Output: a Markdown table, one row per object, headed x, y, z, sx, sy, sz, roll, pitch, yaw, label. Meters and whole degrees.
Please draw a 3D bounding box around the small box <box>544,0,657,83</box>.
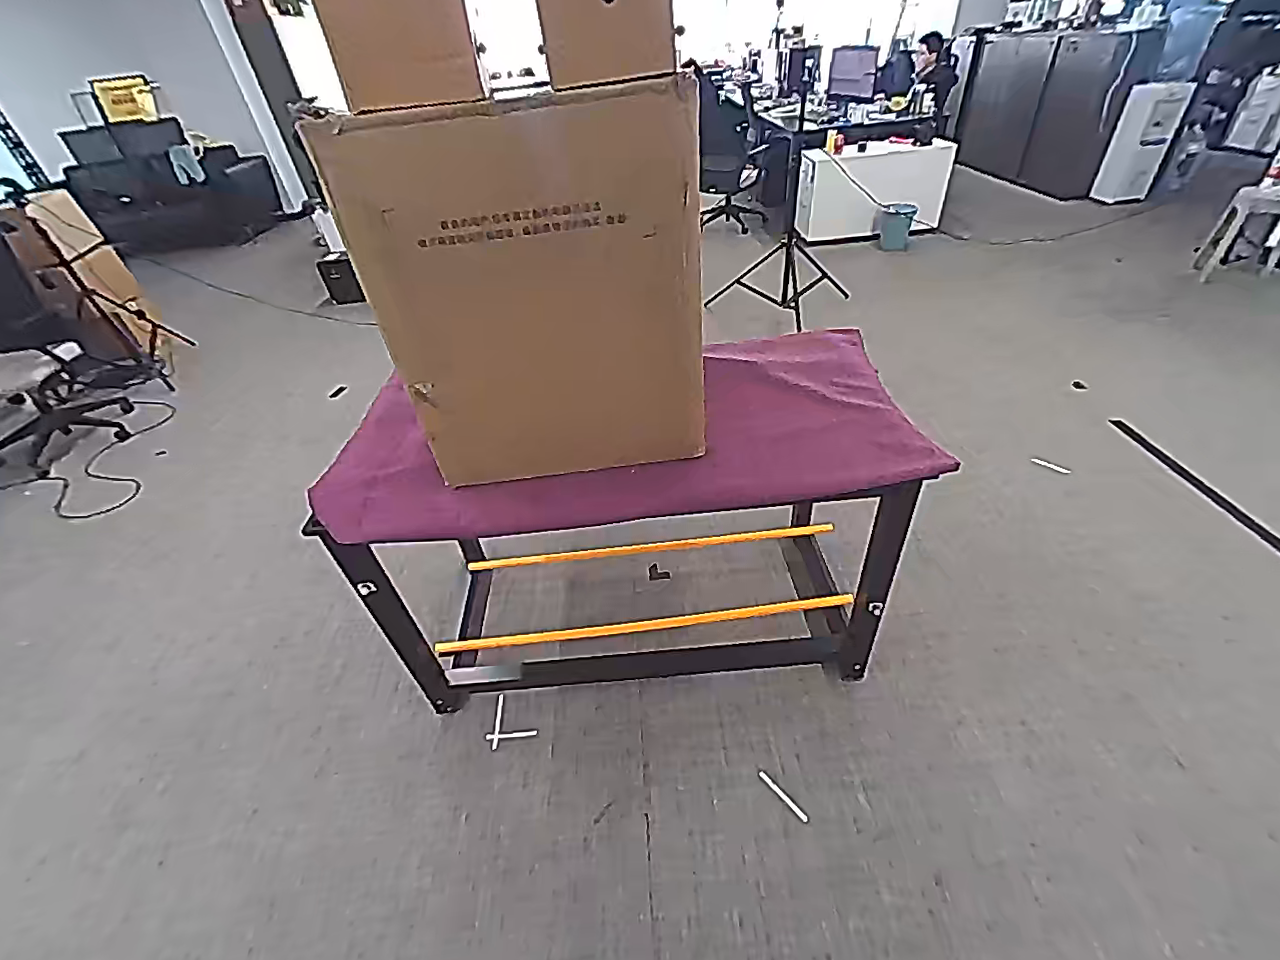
| x | y | z | sx | sy | sz | roll | pitch | yaw | label |
| --- | --- | --- | --- | --- | --- | --- | --- | --- | --- |
| -0.065 | -0.756 | 0.875 | 0.168 | 0.176 | 0.179 | -7 | 39 | 2 | small box |
